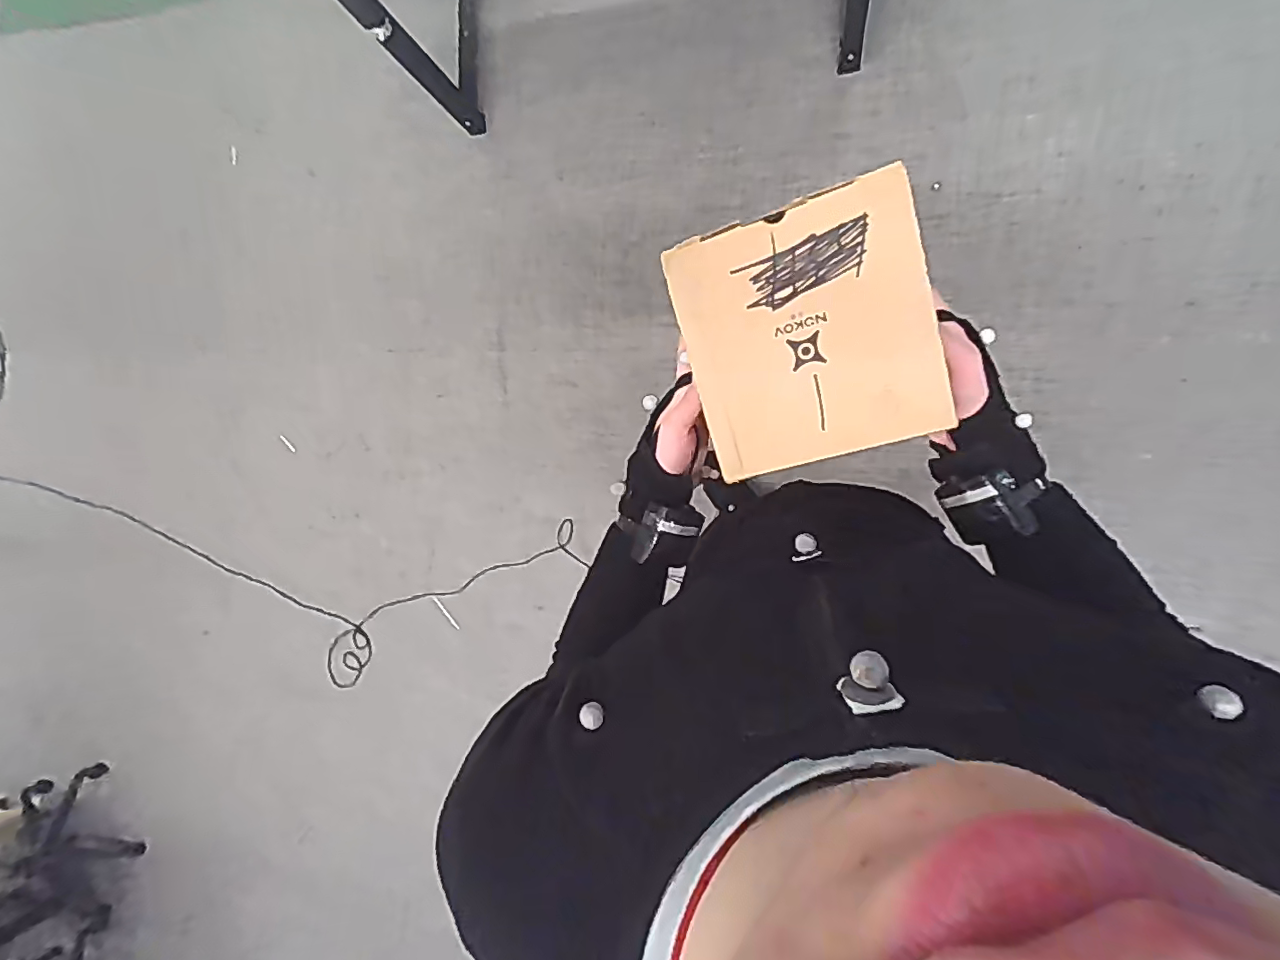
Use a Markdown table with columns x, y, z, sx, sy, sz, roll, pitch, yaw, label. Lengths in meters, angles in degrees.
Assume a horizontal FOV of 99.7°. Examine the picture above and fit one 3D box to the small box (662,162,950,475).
| x | y | z | sx | sy | sz | roll | pitch | yaw | label |
| --- | --- | --- | --- | --- | --- | --- | --- | --- | --- |
| 0.131 | -0.121 | 0.449 | 0.168 | 0.176 | 0.179 | -14 | 102 | 18 | small box |
